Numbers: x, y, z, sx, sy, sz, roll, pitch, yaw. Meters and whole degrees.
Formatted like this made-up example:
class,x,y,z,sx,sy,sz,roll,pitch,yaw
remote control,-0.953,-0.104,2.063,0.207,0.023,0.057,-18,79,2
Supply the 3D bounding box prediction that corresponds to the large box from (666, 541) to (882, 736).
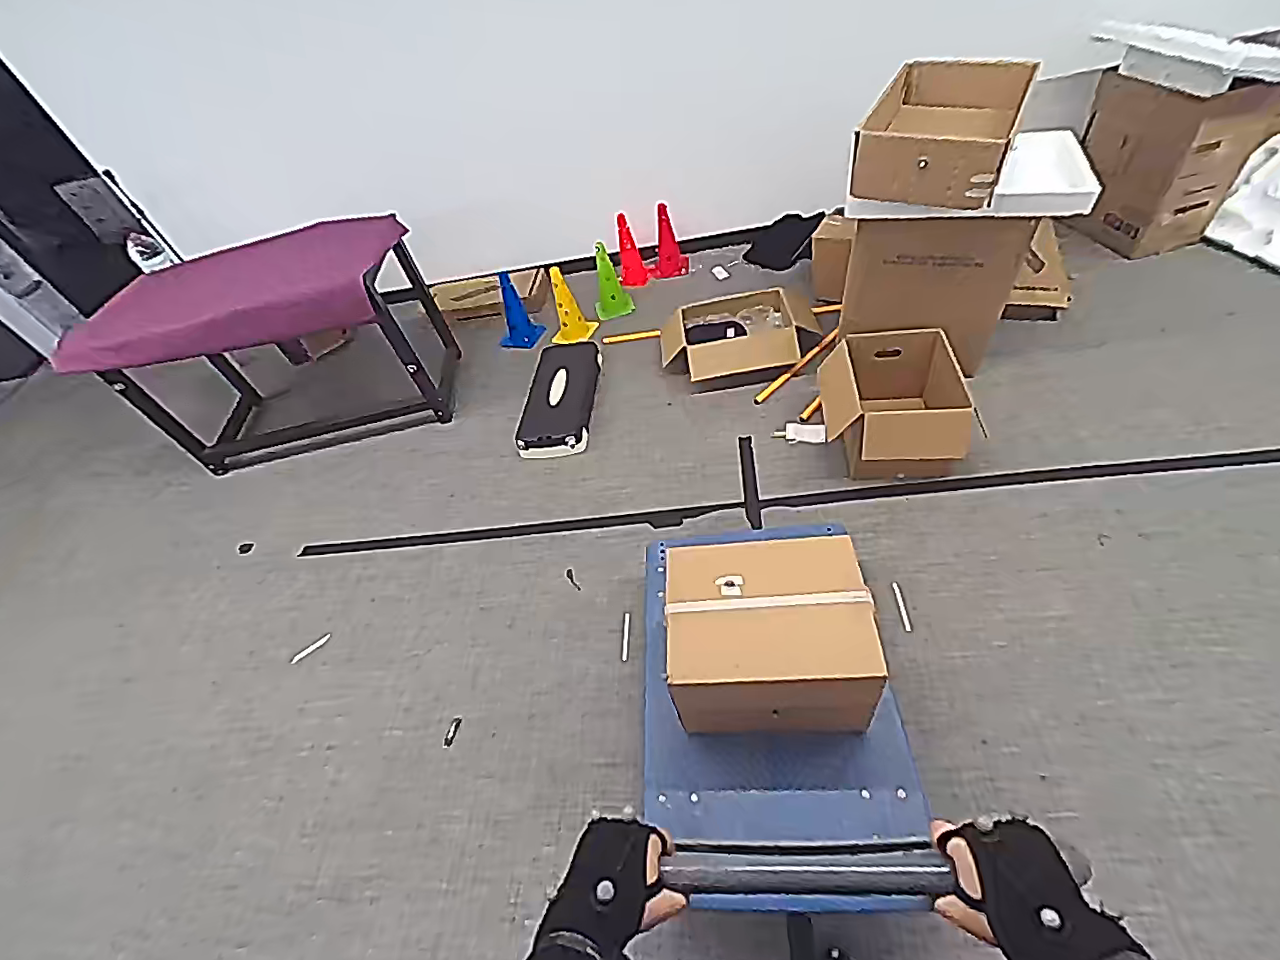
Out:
class,x,y,z,sx,sy,sz,roll,pitch,yaw
large box,0.282,0.366,1.220,0.408,0.320,0.320,-6,47,10
